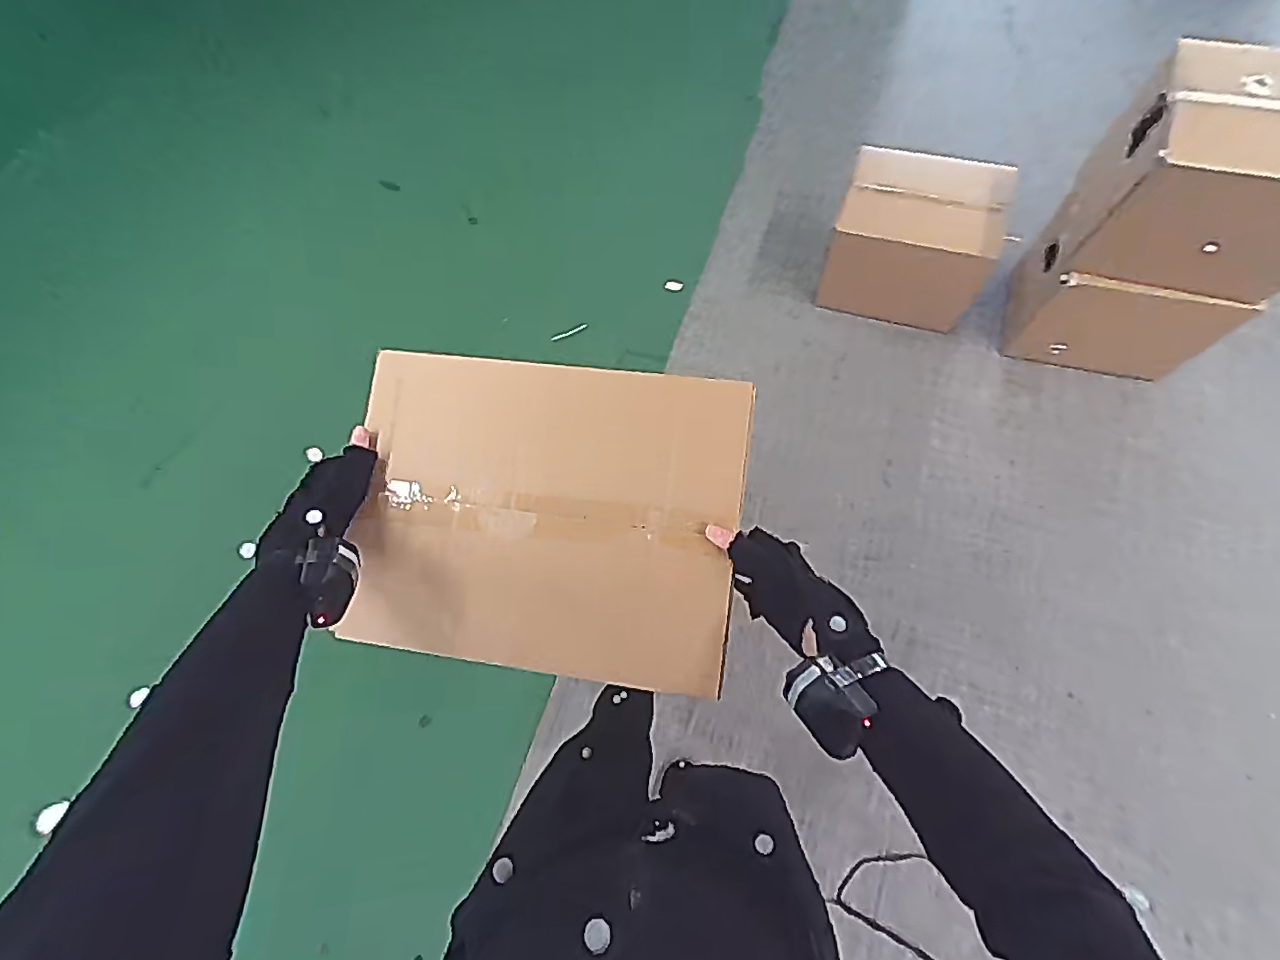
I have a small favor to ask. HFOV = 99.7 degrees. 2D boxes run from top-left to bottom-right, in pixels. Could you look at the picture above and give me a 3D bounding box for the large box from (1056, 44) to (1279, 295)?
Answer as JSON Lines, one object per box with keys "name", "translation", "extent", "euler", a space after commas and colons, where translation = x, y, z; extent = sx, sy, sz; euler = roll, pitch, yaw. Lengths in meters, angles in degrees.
{"name": "large box", "translation": [1.199, -0.634, 1.134], "extent": [0.408, 0.320, 0.320], "euler": [16, 76, 13]}
